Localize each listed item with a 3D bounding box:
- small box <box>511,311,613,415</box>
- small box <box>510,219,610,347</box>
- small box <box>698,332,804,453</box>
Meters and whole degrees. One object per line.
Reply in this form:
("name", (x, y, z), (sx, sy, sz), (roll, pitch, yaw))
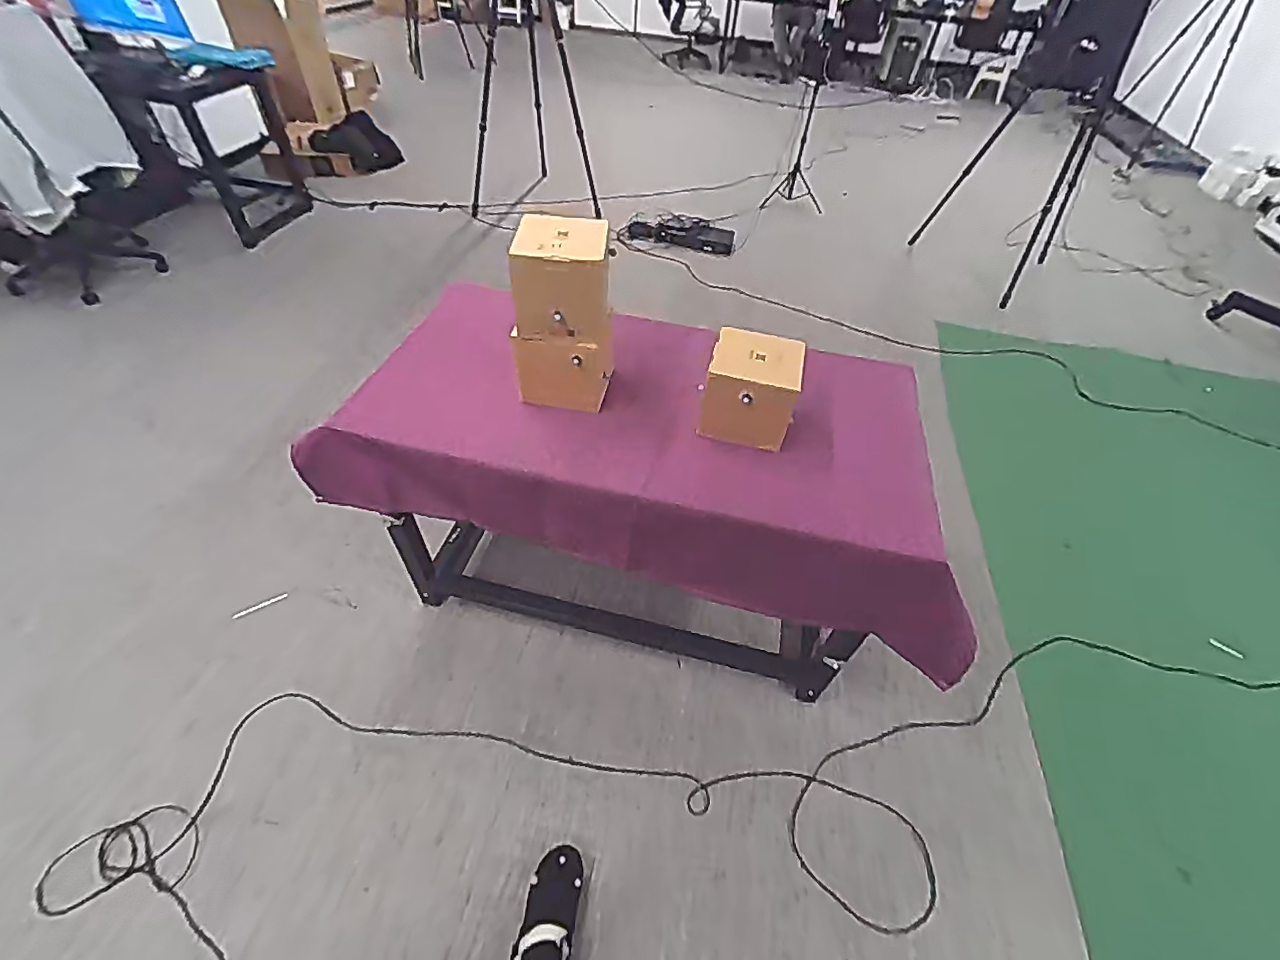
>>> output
("small box", (-0.161, -0.260, 1.161), (0.179, 0.176, 0.168), (10, 47, 3))
("small box", (-0.148, -0.380, 1.048), (0.168, 0.176, 0.179), (3, 48, -2))
("small box", (0.224, -0.177, 1.115), (0.179, 0.176, 0.168), (14, 49, 7))
